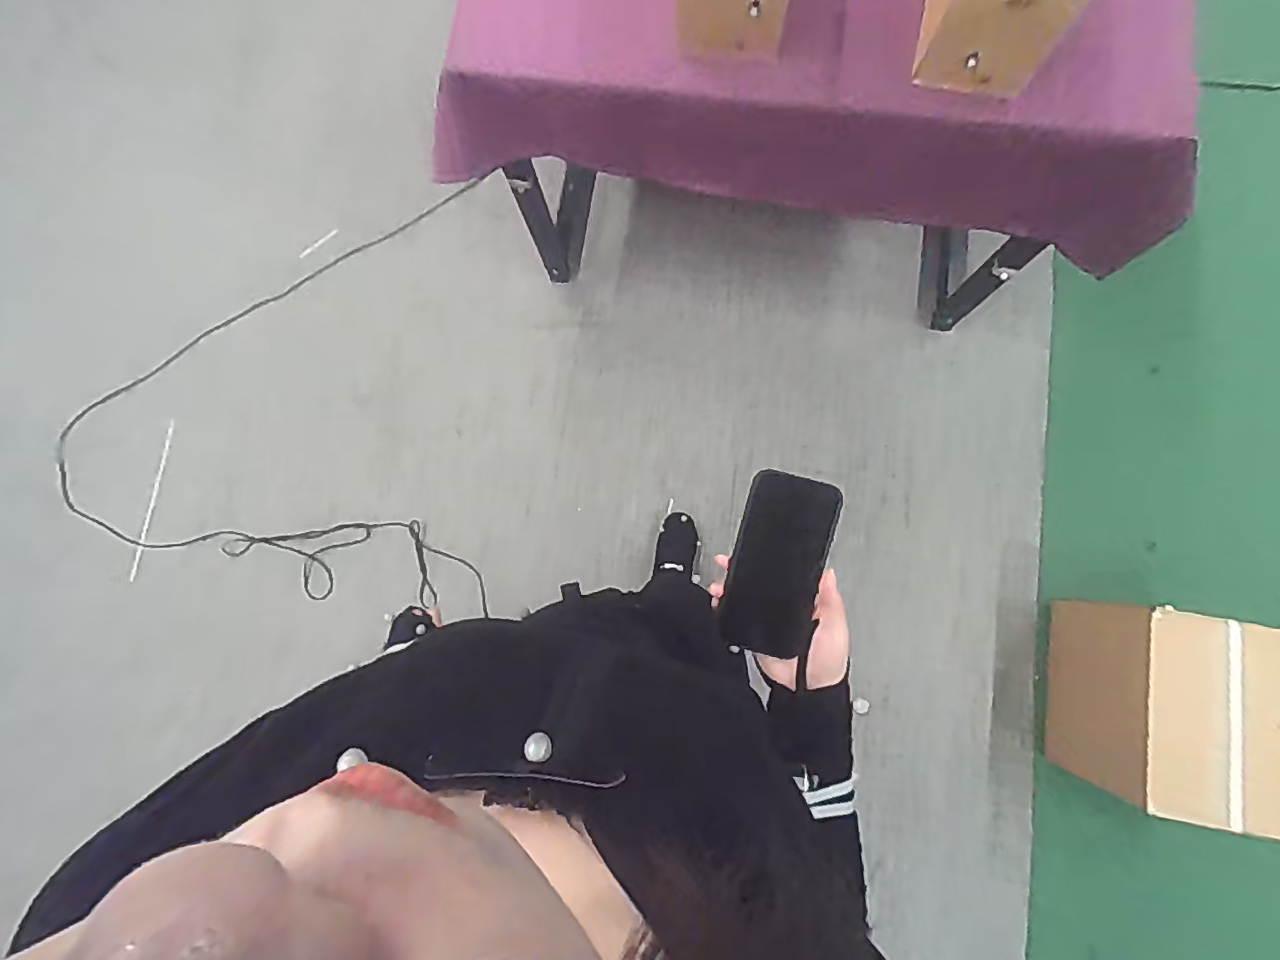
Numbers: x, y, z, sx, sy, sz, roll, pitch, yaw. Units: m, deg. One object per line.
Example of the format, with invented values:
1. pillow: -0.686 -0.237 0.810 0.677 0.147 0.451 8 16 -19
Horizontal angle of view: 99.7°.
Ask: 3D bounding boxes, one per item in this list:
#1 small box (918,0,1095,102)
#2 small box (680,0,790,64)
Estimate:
1. small box: 0.534 -0.707 0.791 0.168 0.176 0.179 14 82 5
2. small box: 0.155 -0.786 0.827 0.168 0.176 0.179 9 81 4
